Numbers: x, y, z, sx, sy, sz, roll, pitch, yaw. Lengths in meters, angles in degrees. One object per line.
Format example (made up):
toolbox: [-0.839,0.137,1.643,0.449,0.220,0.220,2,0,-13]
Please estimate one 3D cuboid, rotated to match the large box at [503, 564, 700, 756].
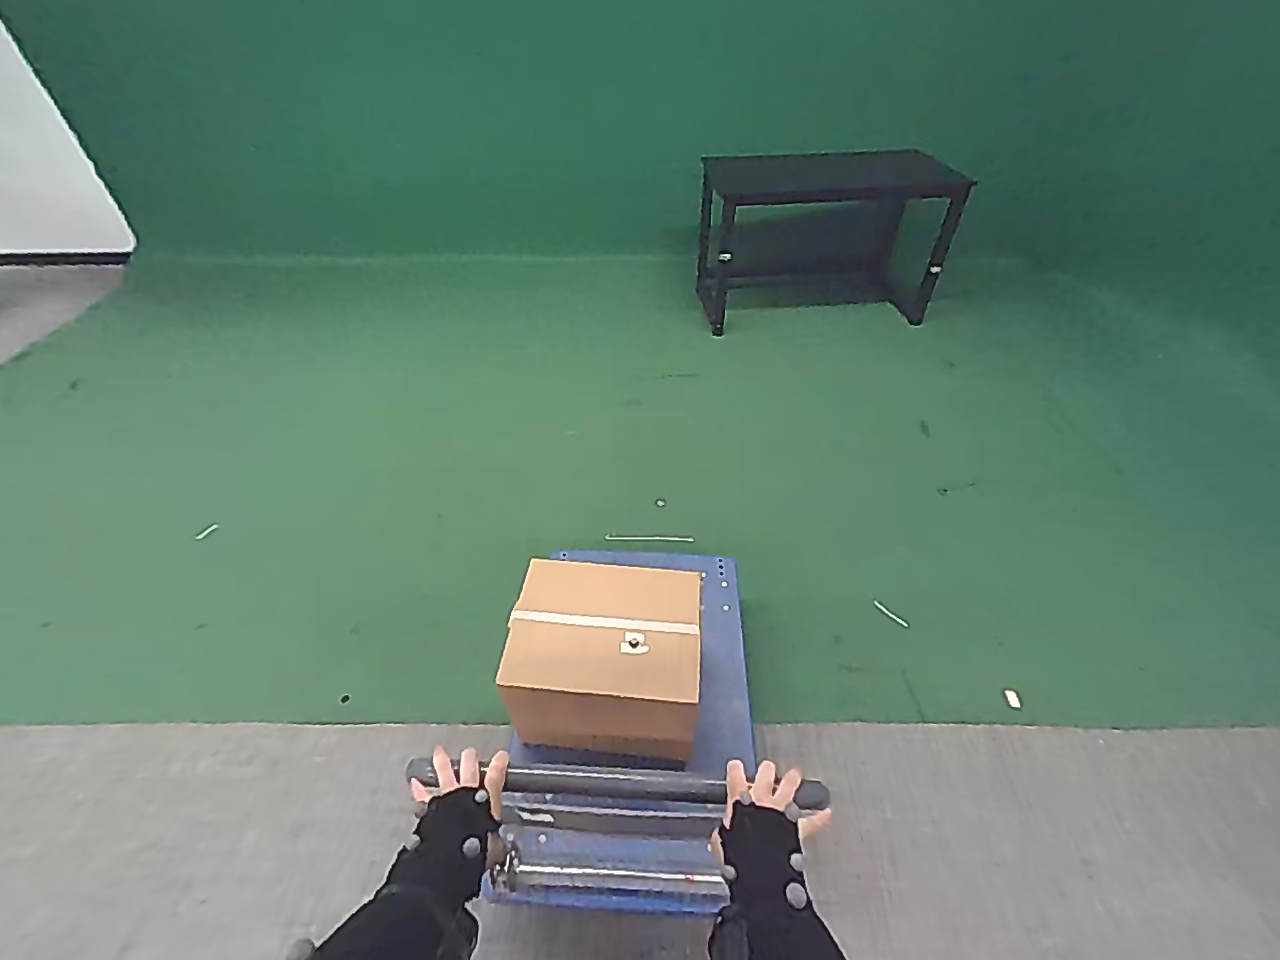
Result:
large box: [-0.074,0.426,1.286,0.408,0.320,0.320,5,44,3]
